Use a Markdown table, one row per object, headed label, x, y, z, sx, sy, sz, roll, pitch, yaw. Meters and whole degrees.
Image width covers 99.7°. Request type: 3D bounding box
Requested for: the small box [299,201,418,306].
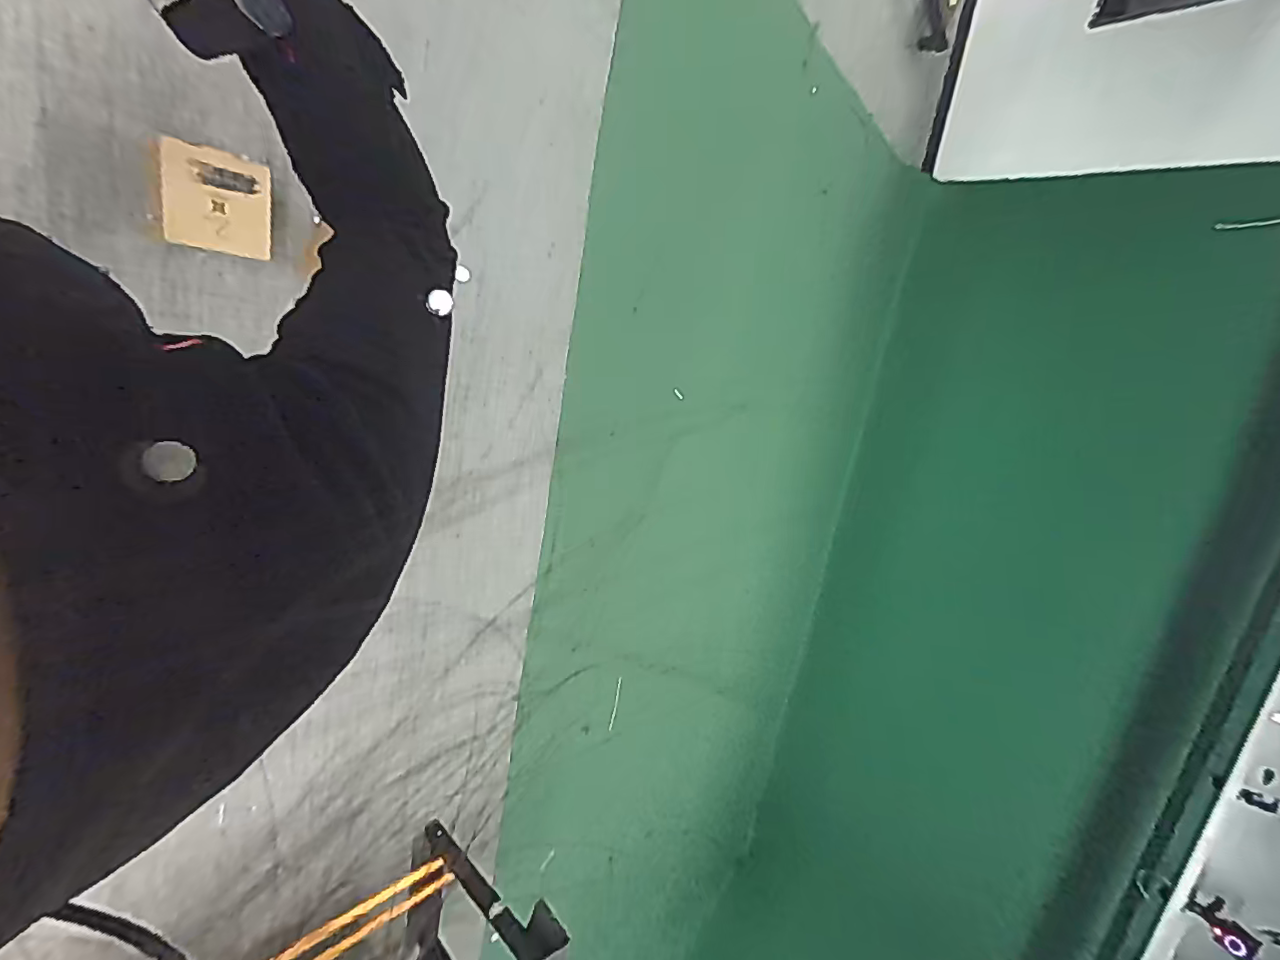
| label | x | y | z | sx | sy | sz | roll | pitch | yaw |
| --- | --- | --- | --- | --- | --- | --- | --- | --- | --- |
| small box | -0.669 | -0.530 | 1.280 | 0.179 | 0.176 | 0.168 | 18 | 92 | -54 |
